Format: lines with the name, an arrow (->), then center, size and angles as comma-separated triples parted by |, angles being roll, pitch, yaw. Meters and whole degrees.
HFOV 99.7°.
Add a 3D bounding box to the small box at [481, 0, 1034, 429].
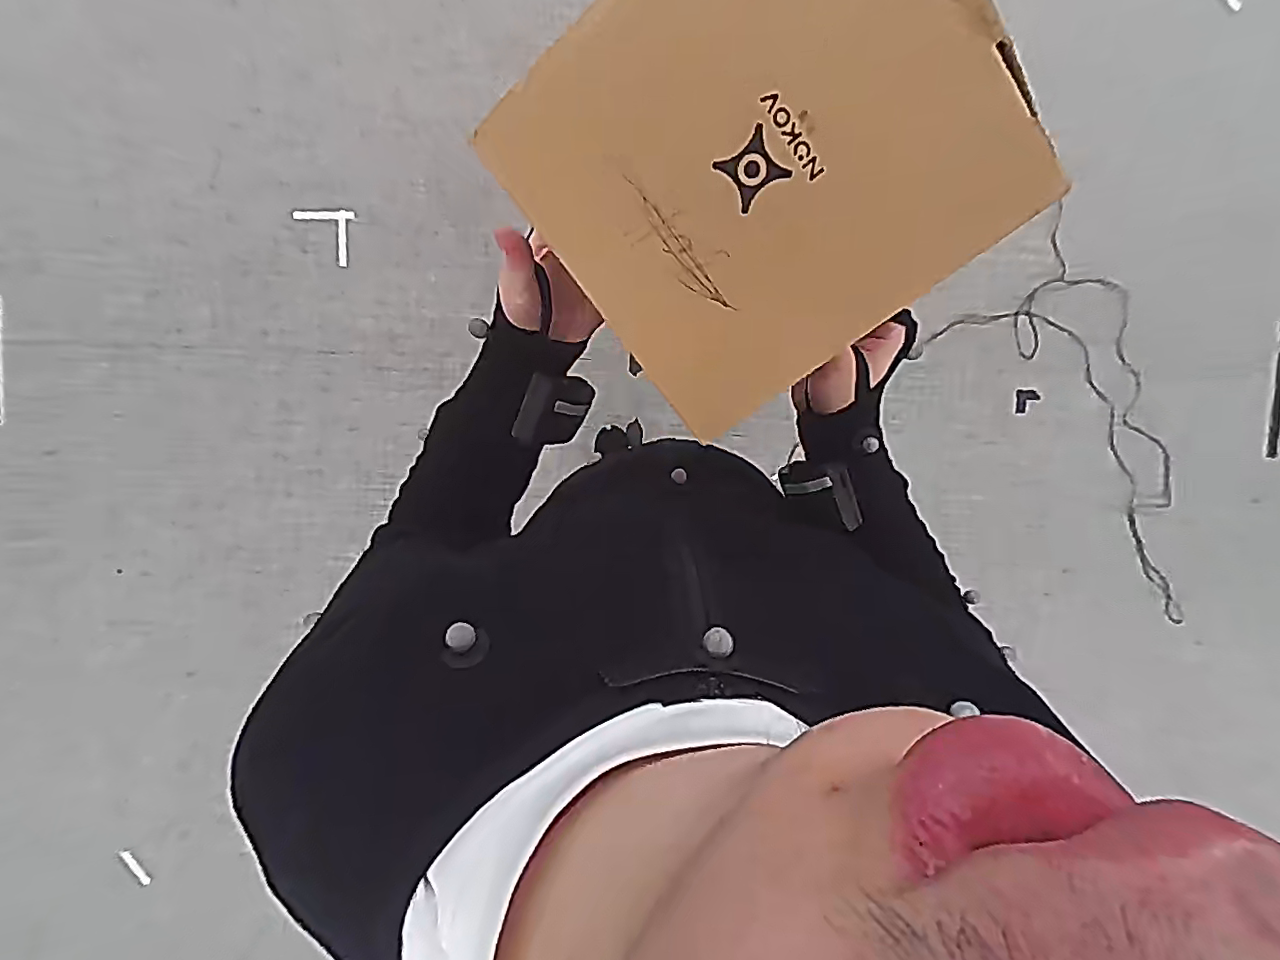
small box -> 0.052, -0.160, 0.300 | 0.179, 0.176, 0.168 | -36, 103, 18
